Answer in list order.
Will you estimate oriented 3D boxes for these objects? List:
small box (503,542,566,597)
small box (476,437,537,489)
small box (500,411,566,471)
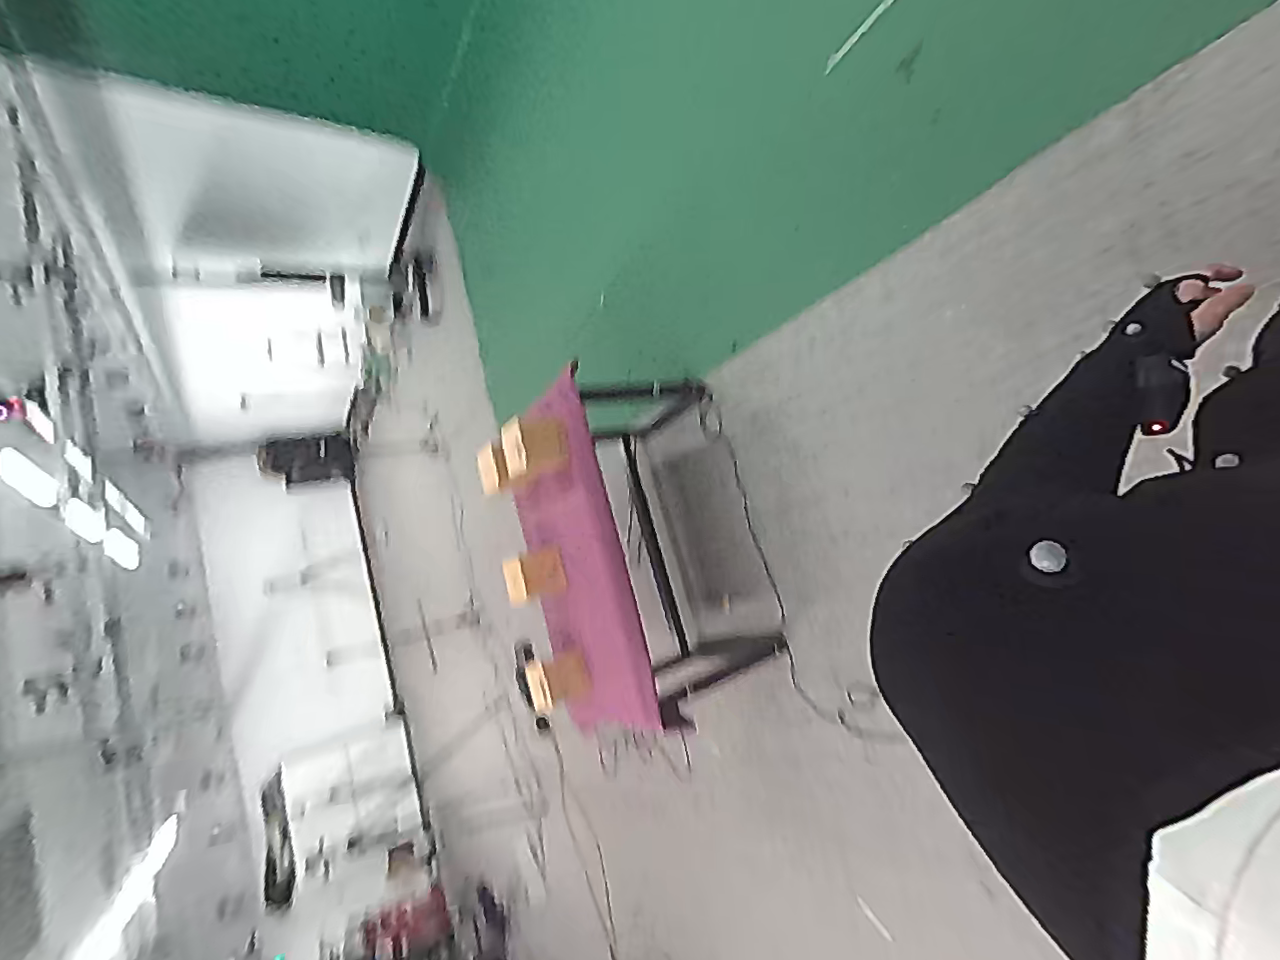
[{"bbox_3d":[-0.410,0.348,2.099,0.179,0.176,0.168,-26,77,52],"label":"small box"},{"bbox_3d":[-0.532,-0.072,2.152,0.179,0.176,0.168,-24,80,53],"label":"small box"},{"bbox_3d":[-0.374,-0.141,1.917,0.179,0.176,0.168,-19,84,56],"label":"small box"}]
